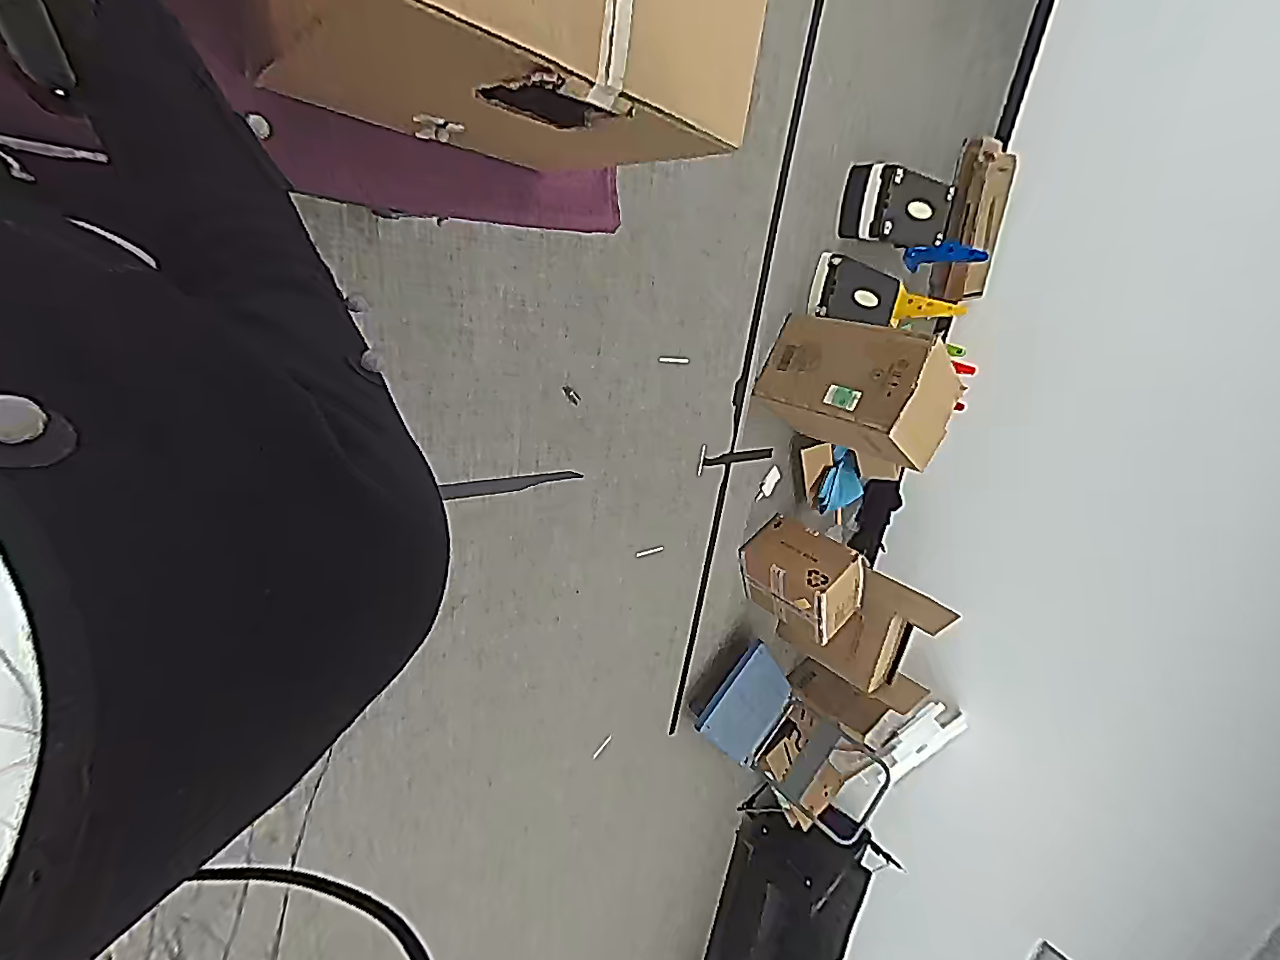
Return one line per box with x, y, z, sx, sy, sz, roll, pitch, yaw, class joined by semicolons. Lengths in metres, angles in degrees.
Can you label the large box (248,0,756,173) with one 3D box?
-0.107;-0.499;0.411;0.320;0.320;0.408;-10;115;-42;large box
